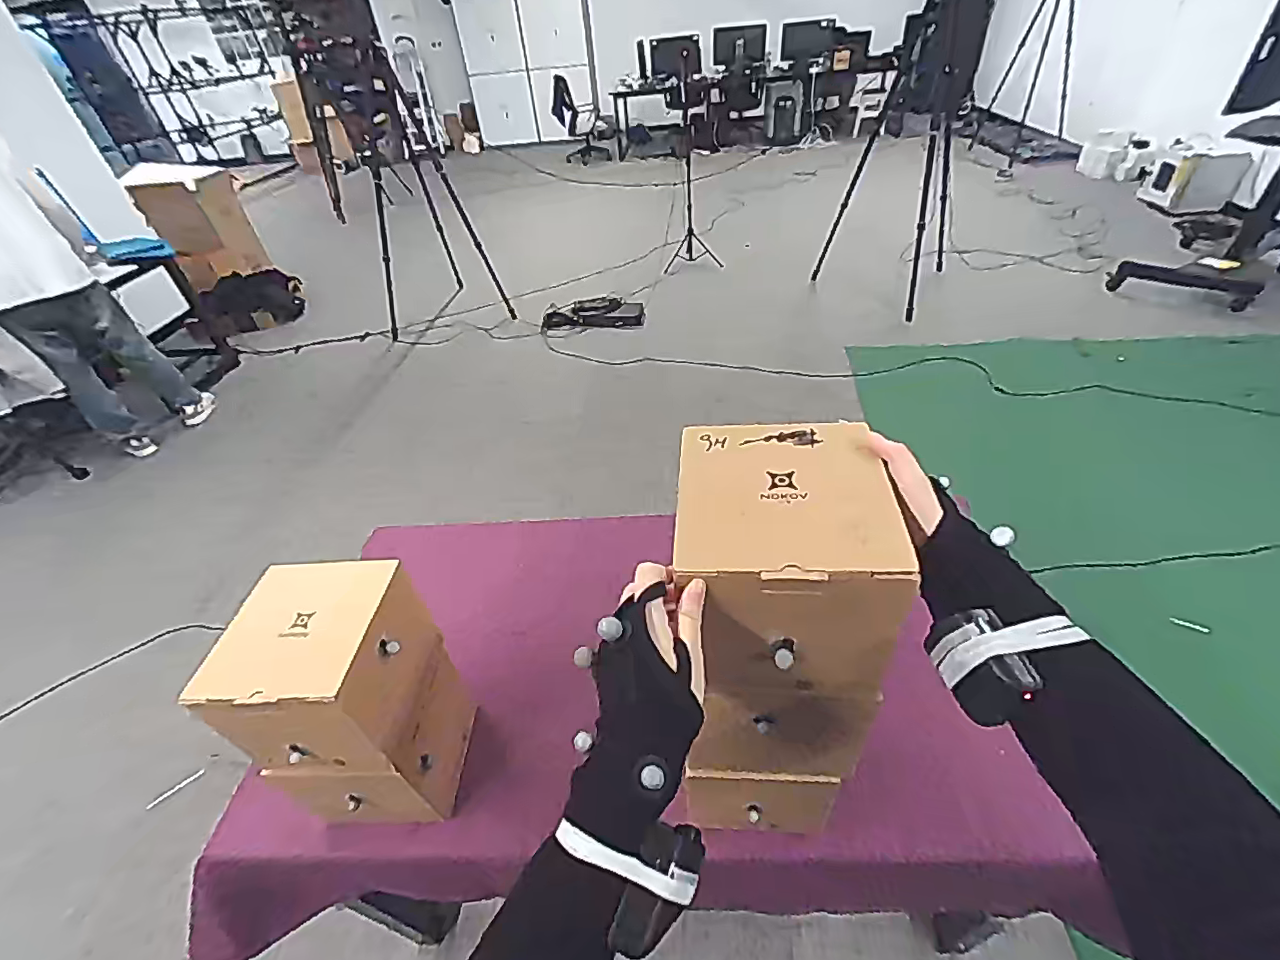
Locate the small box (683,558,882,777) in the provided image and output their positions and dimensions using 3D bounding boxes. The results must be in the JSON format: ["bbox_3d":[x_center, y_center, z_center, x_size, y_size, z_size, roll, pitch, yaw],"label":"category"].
[{"bbox_3d":[0.140,0.203,0.588,0.179,0.176,0.168,0,42,7],"label":"small box"}]

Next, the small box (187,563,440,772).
[{"bbox_3d":[-0.355,0.219,0.637,0.168,0.176,0.179,-3,41,4],"label":"small box"}]

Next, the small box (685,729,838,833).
[{"bbox_3d":[0.146,0.329,0.695,0.168,0.176,0.179,0,41,7],"label":"small box"}]
